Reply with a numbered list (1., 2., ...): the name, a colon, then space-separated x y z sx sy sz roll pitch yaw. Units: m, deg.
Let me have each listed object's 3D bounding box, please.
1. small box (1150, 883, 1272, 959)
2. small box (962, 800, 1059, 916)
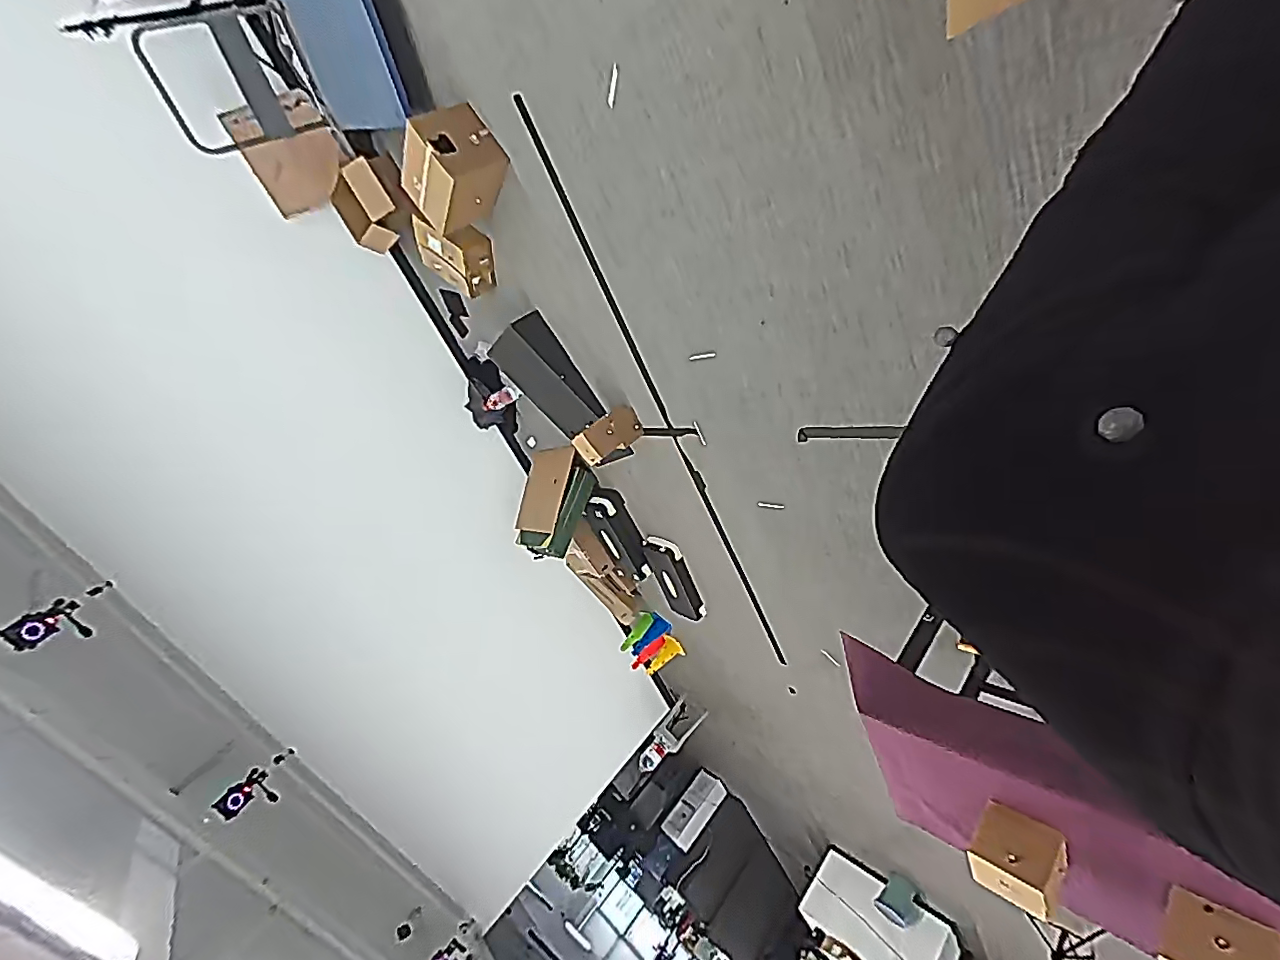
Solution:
1. small box: 1.240 1.038 1.176 0.168 0.176 0.179 5 130 52
2. small box: 1.010 1.014 1.471 0.179 0.176 0.168 9 132 49
